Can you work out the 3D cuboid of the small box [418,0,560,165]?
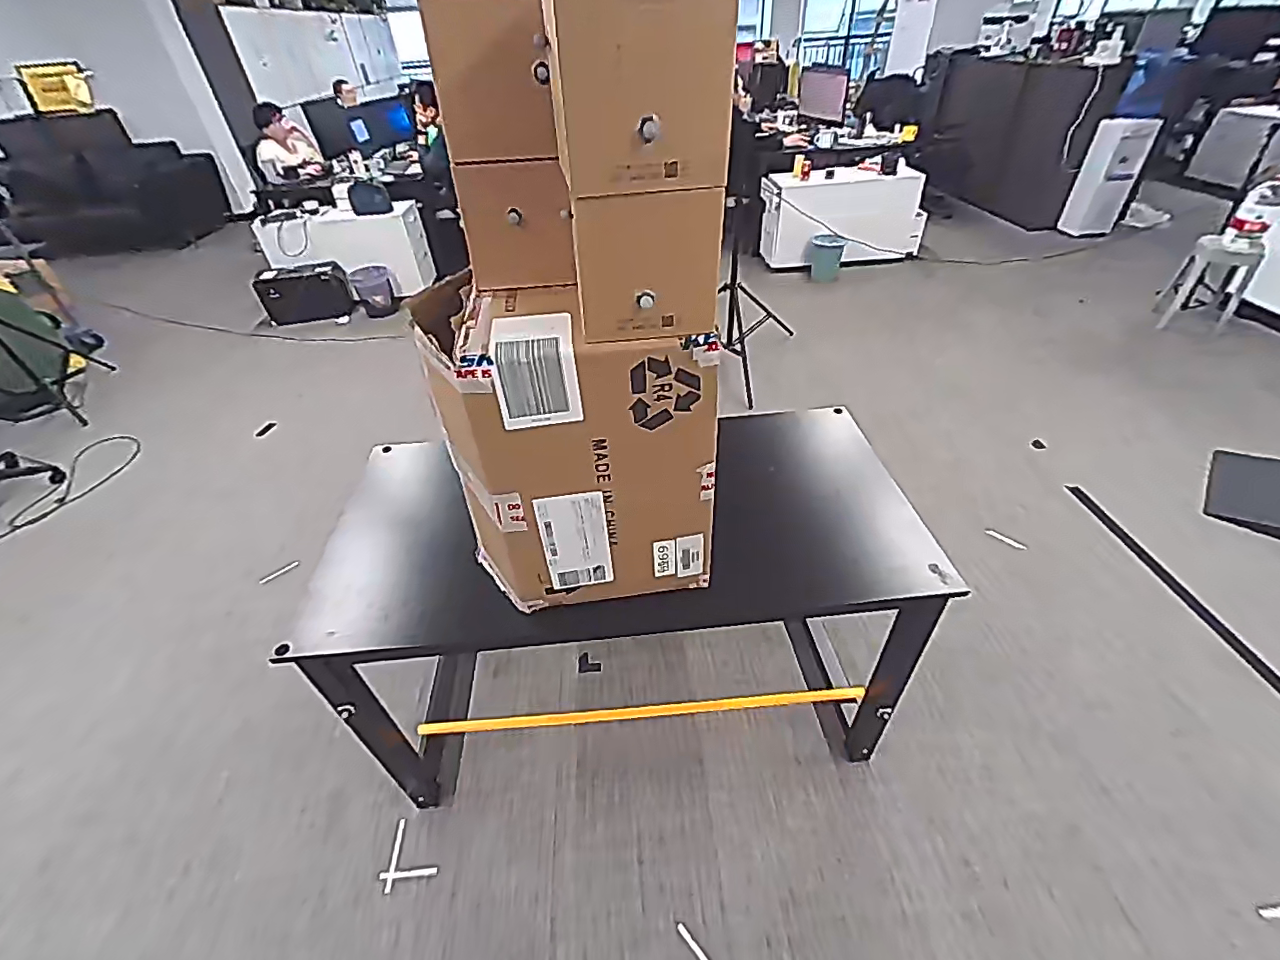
[{"bbox_3d":[-0.173,-0.527,0.715,0.179,0.176,0.168,-9,38,-7],"label":"small box"}]

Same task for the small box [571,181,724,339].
[{"bbox_3d":[0.000,-0.295,0.683,0.168,0.176,0.179,-6,41,-5],"label":"small box"}]

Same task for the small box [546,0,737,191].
[{"bbox_3d":[-0.007,-0.419,0.574,0.168,0.176,0.179,-9,41,-7],"label":"small box"}]

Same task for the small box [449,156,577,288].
[{"bbox_3d":[-0.169,-0.401,0.819,0.179,0.176,0.168,-7,38,-5],"label":"small box"}]
